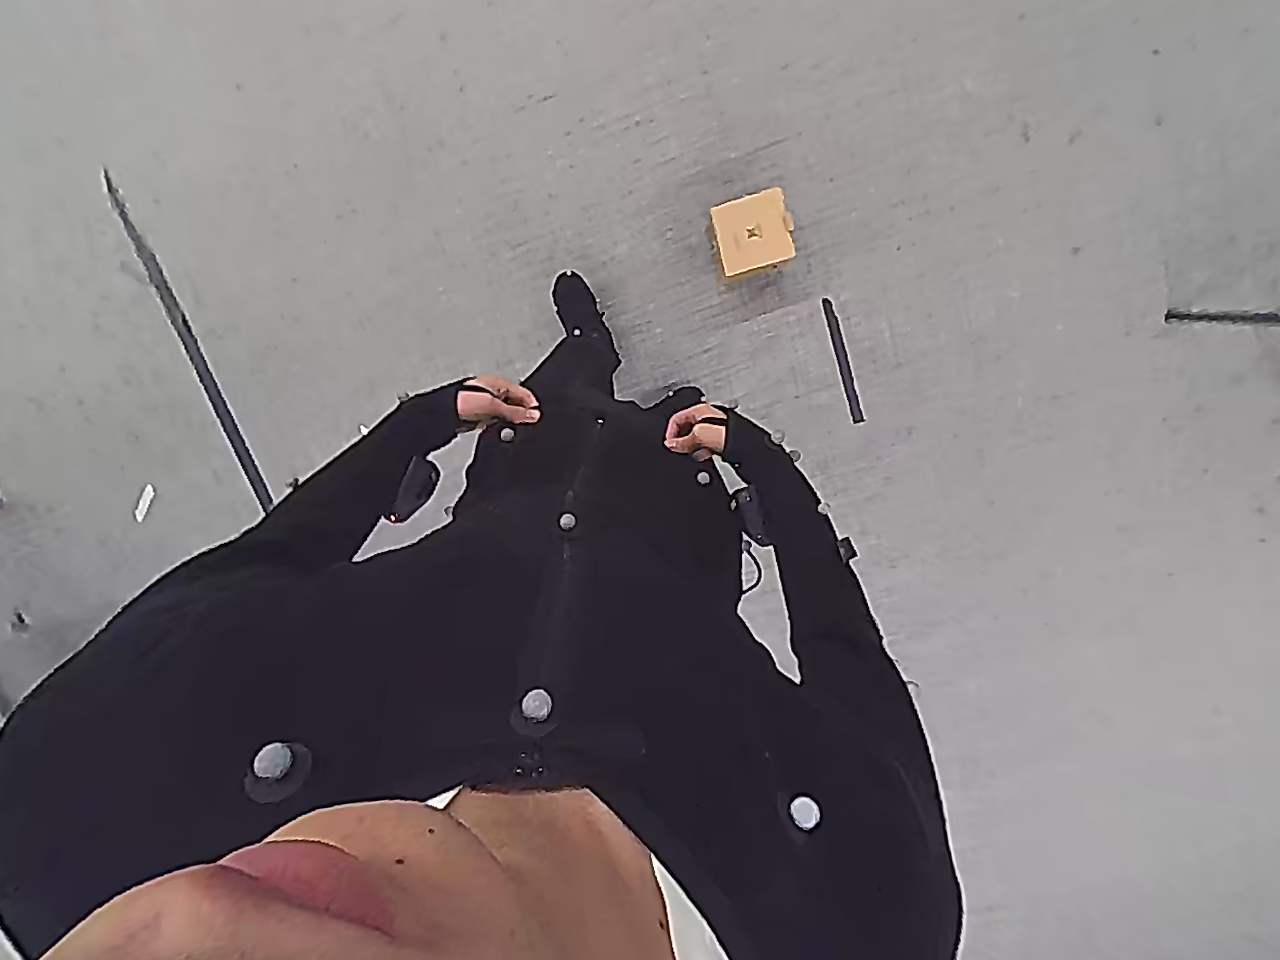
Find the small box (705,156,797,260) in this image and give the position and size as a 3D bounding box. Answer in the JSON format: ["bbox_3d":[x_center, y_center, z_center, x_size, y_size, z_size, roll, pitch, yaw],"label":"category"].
[{"bbox_3d":[0.262,-0.645,1.303,0.179,0.176,0.168,-14,103,7],"label":"small box"}]
